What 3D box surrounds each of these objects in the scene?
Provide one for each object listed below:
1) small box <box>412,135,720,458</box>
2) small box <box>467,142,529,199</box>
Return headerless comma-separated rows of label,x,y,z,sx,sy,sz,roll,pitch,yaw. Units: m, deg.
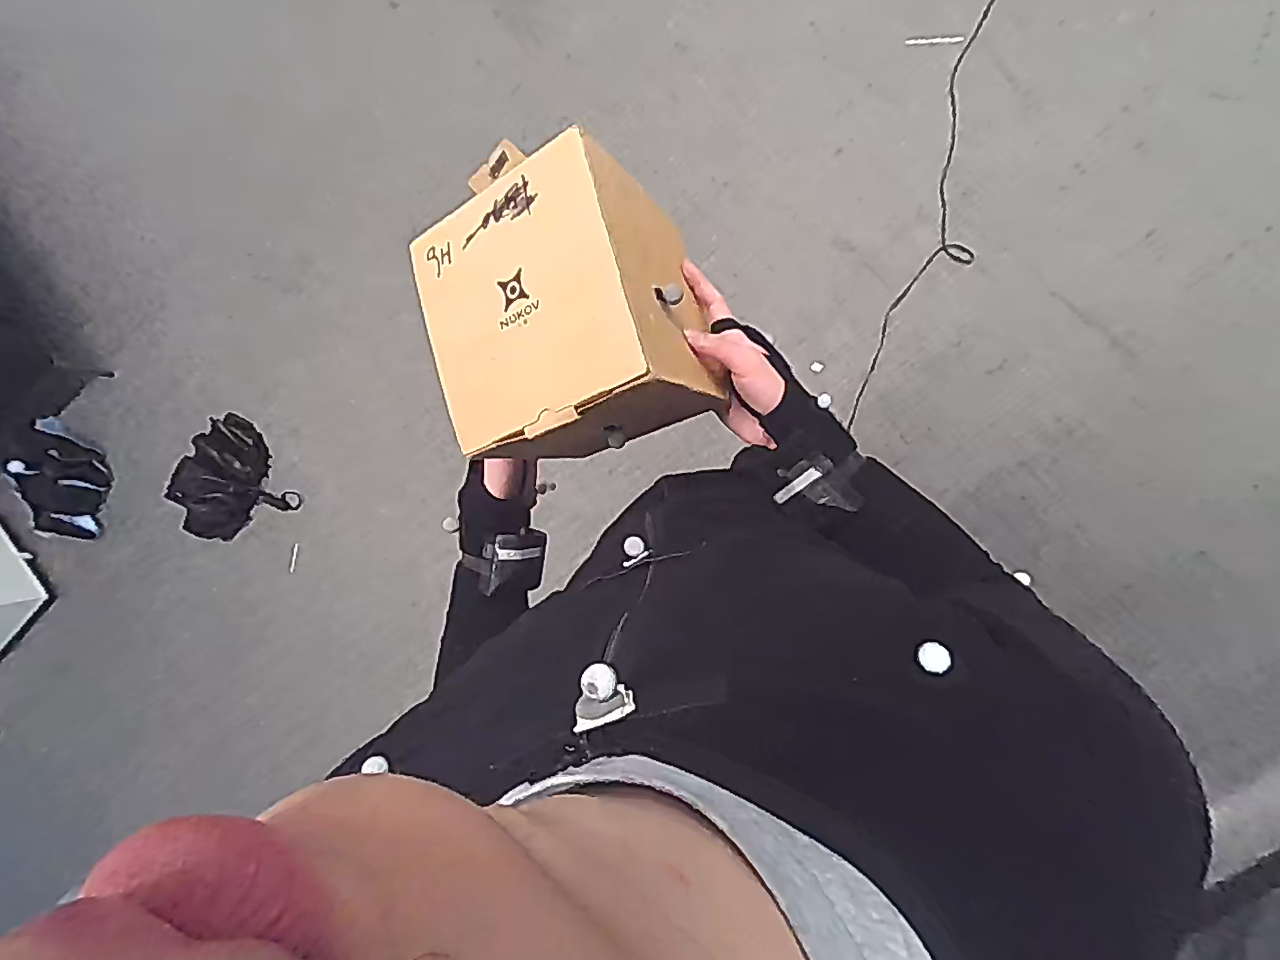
small box,-0.049,-0.126,0.449,0.168,0.176,0.179,-18,85,24
small box,-0.356,-0.814,1.564,0.168,0.176,0.179,-45,83,9
